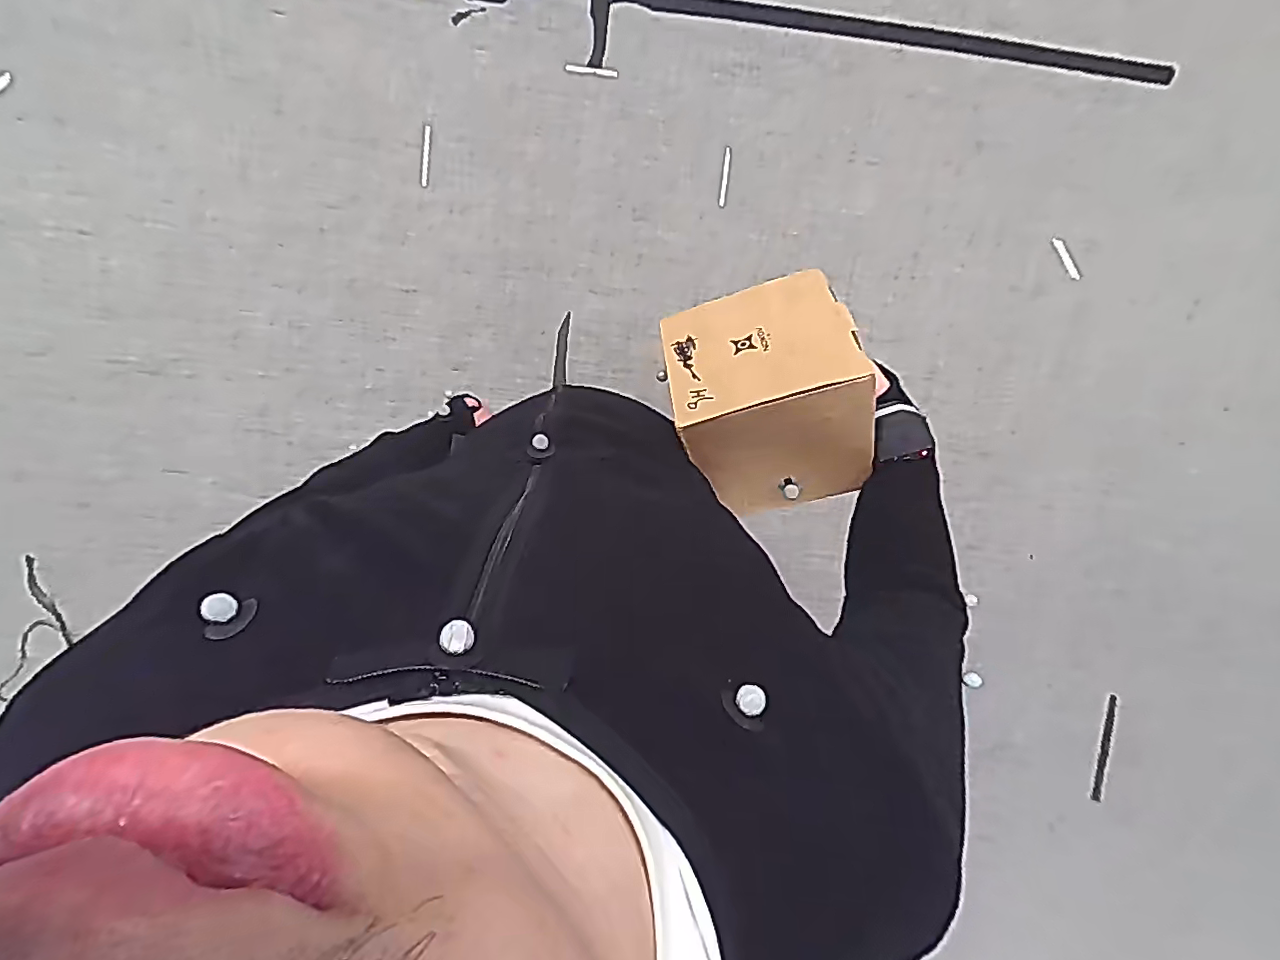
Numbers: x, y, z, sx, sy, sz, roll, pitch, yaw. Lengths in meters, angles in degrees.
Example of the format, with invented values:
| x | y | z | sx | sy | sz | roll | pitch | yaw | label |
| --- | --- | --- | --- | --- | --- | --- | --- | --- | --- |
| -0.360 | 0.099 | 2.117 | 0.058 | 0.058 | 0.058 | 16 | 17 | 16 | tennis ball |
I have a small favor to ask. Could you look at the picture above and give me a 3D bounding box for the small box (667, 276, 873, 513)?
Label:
| x | y | z | sx | sy | sz | roll | pitch | yaw | label |
| --- | --- | --- | --- | --- | --- | --- | --- | --- | --- |
| 0.141 | -0.086 | 0.599 | 0.179 | 0.168 | 0.176 | -15 | 140 | 11 | small box |
